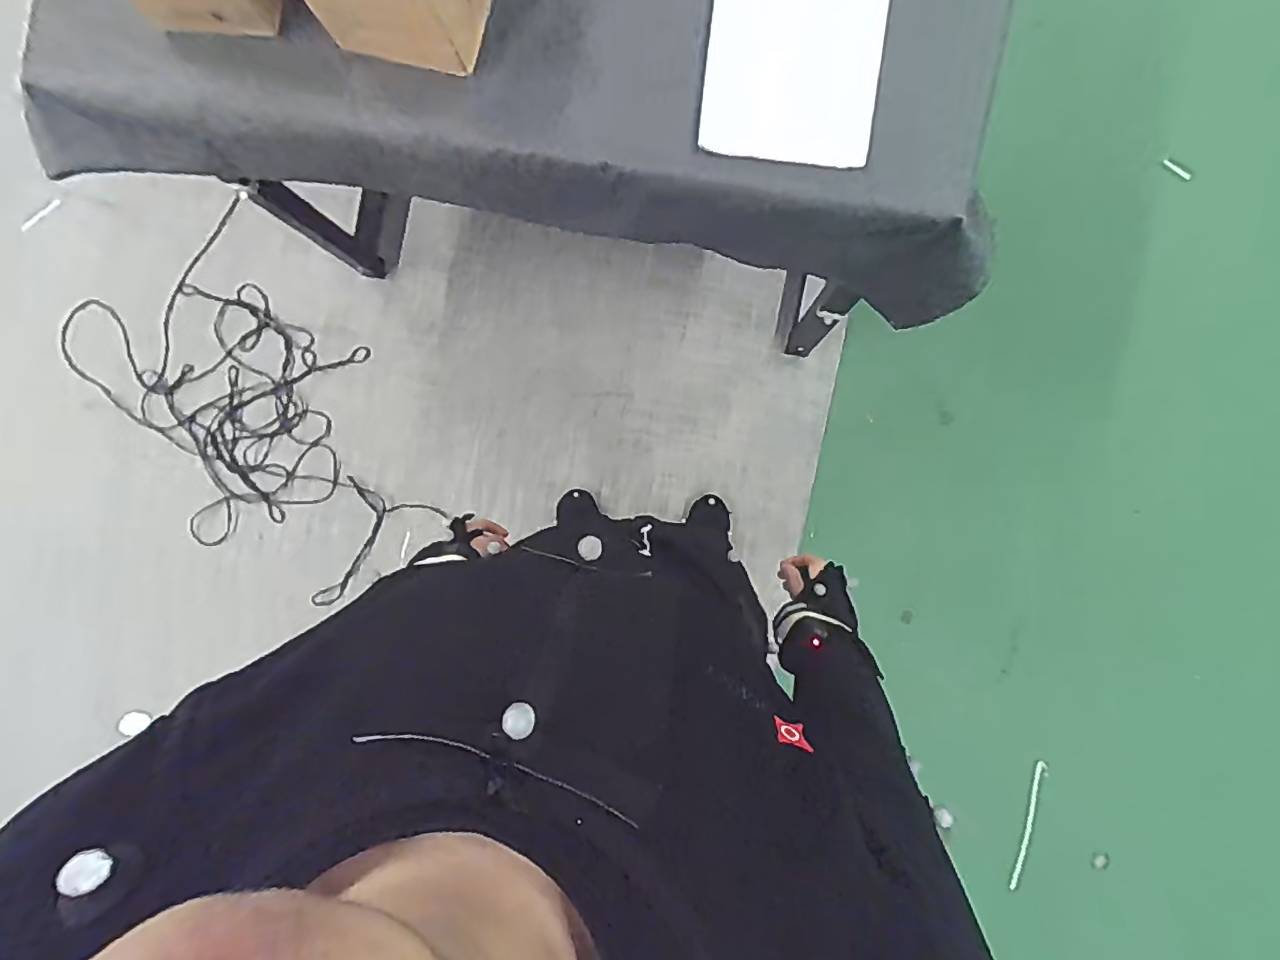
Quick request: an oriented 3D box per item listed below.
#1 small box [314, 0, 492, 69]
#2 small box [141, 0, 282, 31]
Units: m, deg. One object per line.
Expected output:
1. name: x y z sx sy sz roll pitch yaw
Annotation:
1. small box: -0.275 -0.597 0.588 0.179 0.176 0.168 15 90 3
2. small box: -0.527 -0.655 0.605 0.168 0.176 0.179 6 88 3
